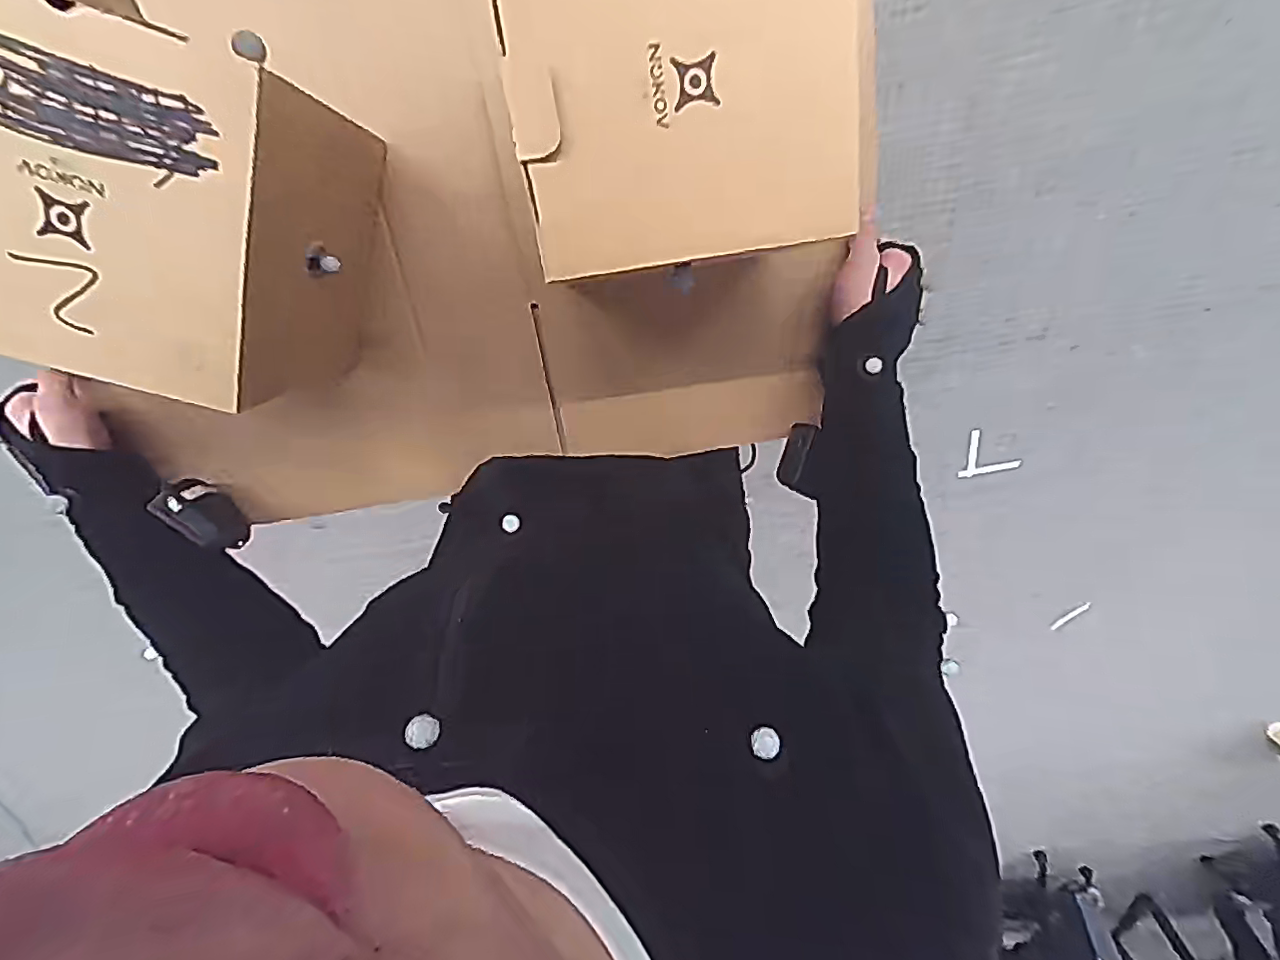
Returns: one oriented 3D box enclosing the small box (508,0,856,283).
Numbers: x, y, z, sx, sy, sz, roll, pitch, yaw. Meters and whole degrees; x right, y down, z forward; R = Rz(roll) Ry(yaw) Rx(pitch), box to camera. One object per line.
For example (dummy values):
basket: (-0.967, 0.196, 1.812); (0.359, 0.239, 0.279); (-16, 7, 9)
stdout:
small box: (0.023, -0.231, 0.359); (0.179, 0.176, 0.168); (-9, 111, 1)
